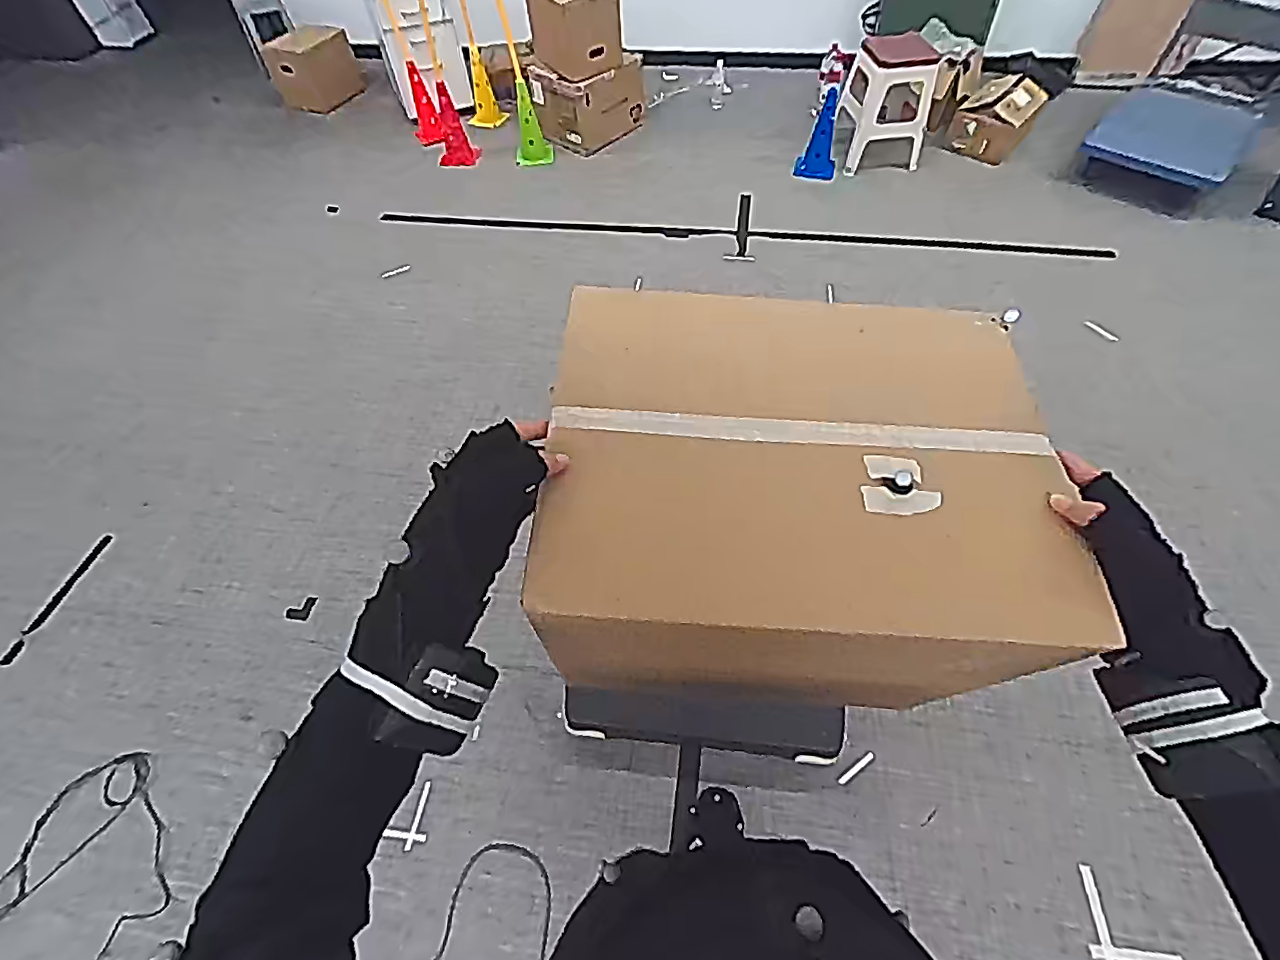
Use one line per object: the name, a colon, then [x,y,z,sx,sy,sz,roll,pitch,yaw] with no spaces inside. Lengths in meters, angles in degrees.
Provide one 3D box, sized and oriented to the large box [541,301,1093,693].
large box: [0.123,0.039,0.582,0.408,0.320,0.320,3,61,-1]
